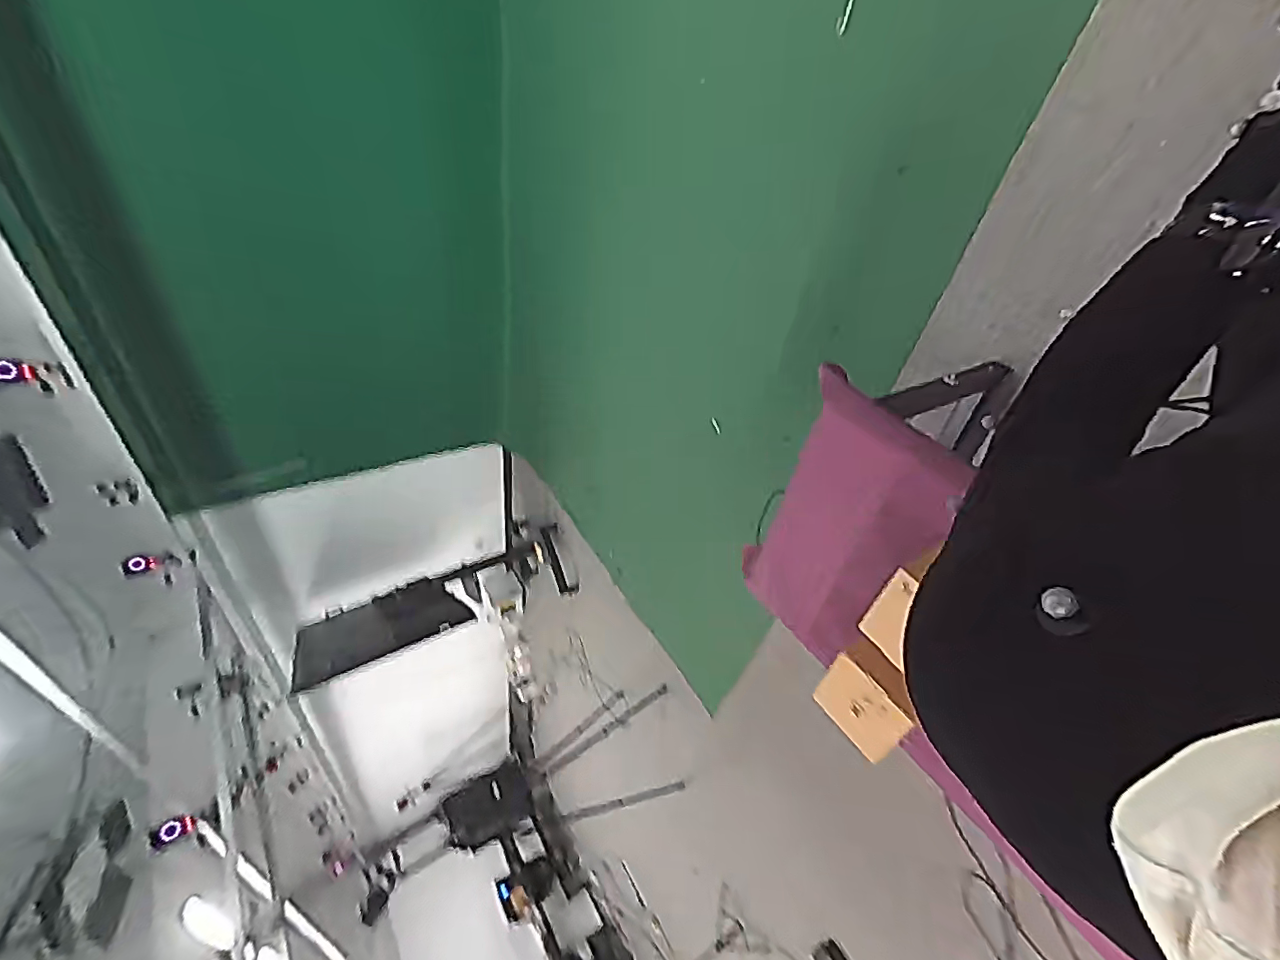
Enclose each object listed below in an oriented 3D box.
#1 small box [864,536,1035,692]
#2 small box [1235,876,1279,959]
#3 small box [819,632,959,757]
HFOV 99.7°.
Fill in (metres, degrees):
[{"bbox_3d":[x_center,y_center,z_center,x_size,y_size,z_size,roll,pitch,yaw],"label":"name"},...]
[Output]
[{"bbox_3d":[0.541,0.231,0.952,0.168,0.176,0.179,48,143,35],"label":"small box"},{"bbox_3d":[0.846,0.553,0.604,0.168,0.176,0.179,45,143,40],"label":"small box"},{"bbox_3d":[0.508,0.420,1.108,0.168,0.176,0.179,48,141,36],"label":"small box"}]
